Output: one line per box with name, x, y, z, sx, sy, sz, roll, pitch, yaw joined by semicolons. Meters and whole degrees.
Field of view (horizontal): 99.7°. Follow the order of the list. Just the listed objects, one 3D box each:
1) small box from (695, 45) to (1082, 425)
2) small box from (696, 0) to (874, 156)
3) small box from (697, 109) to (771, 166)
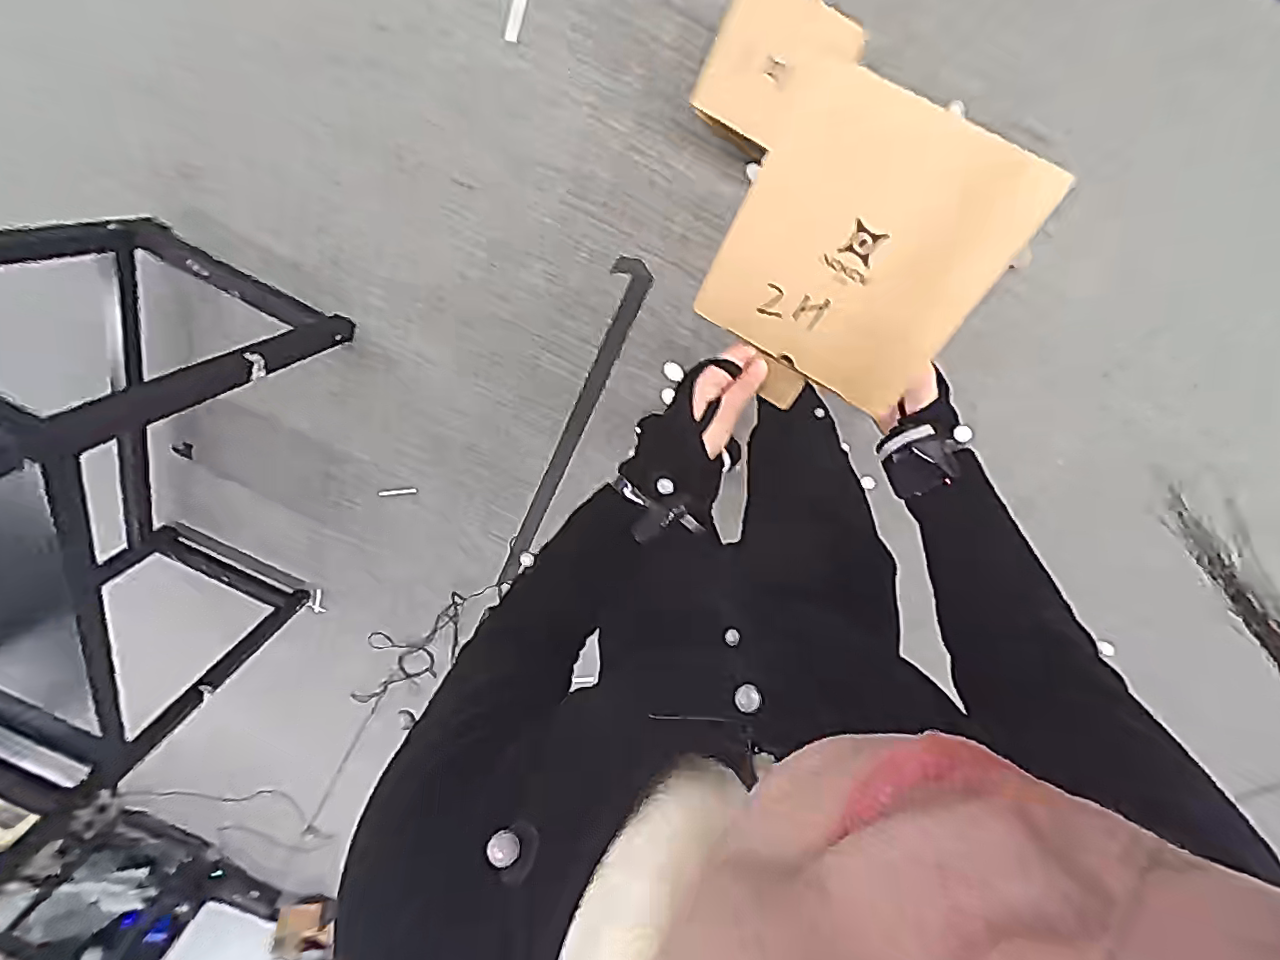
small box;0.170;-0.179;0.413;0.168;0.176;0.179;33;125;6
small box;0.204;-0.581;0.786;0.179;0.176;0.168;29;121;-4
small box;0.221;-0.657;0.931;0.179;0.176;0.168;32;121;-7
